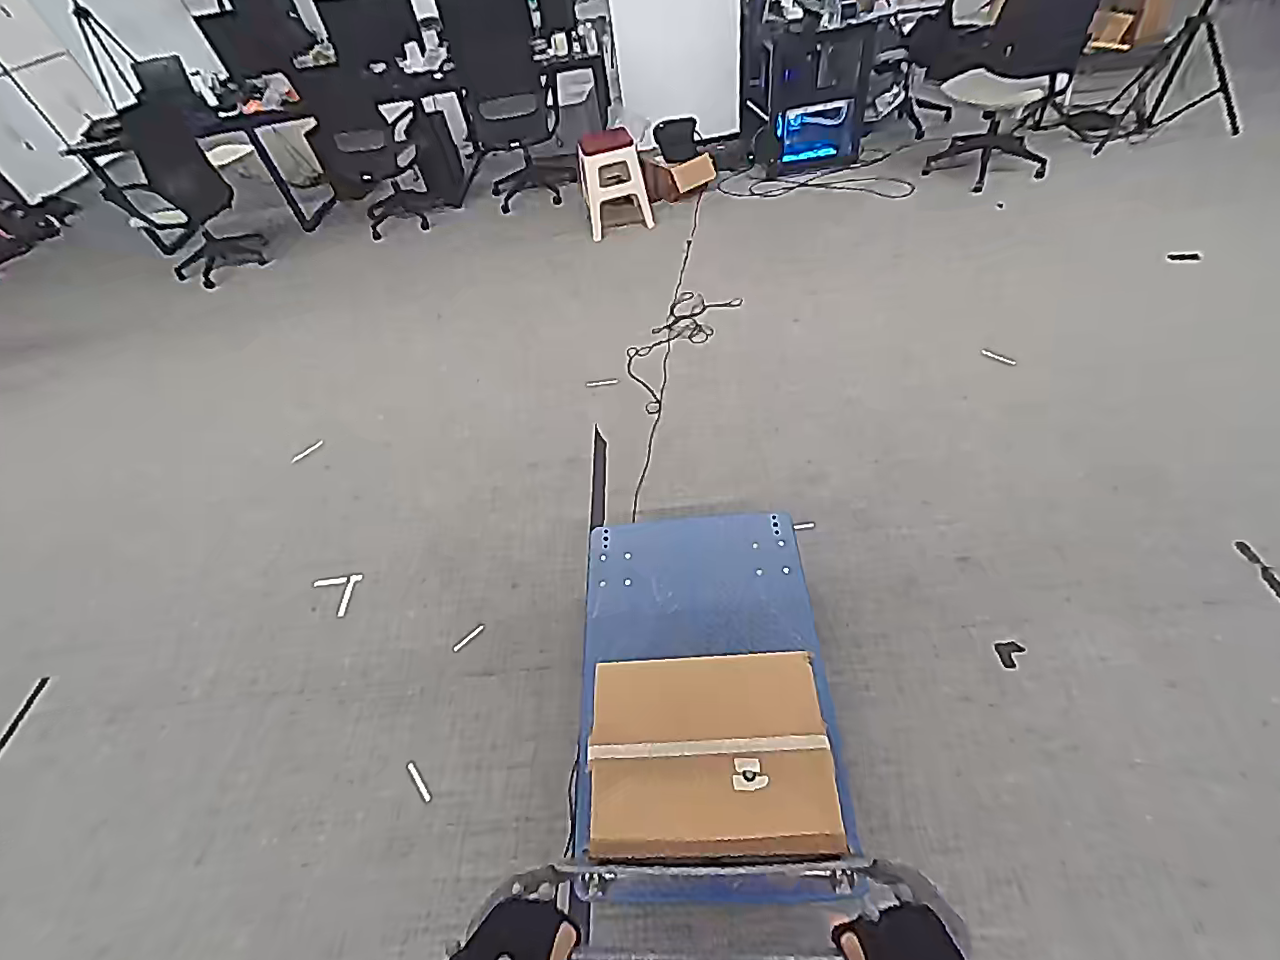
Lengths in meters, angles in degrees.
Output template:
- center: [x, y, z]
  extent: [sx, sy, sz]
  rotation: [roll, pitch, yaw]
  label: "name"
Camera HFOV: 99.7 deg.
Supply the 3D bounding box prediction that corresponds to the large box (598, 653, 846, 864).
- center: [0.139, 0.557, 1.064]
  extent: [0.408, 0.320, 0.320]
  rotation: [-5, 54, 5]
  label: "large box"
